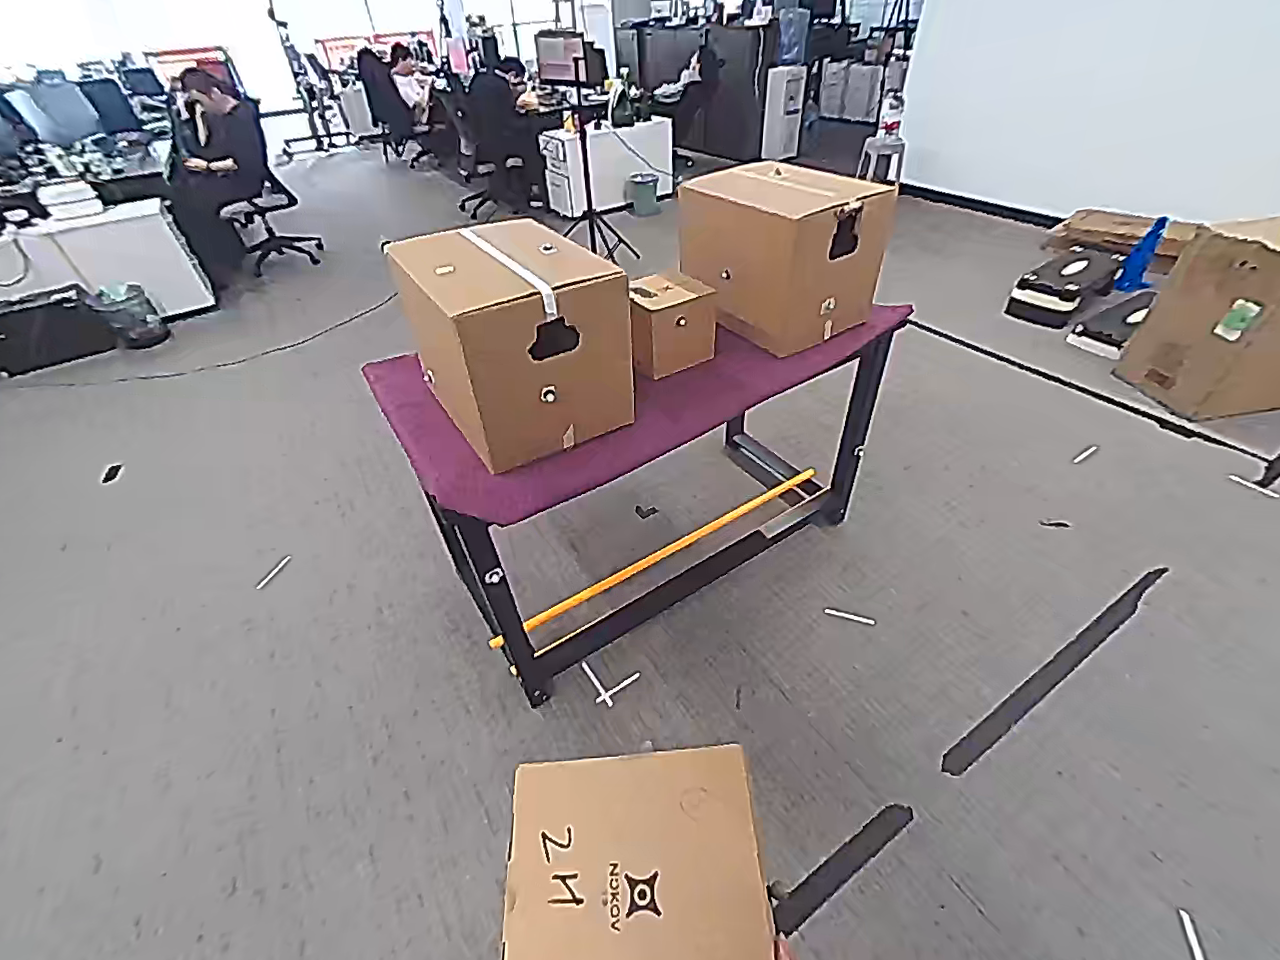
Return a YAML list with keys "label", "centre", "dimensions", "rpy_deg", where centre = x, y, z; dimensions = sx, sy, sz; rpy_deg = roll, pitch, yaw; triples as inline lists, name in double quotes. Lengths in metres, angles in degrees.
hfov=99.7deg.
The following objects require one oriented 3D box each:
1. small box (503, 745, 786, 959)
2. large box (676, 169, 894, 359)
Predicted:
- label: "small box"
  centre: [0.012, 0.310, 0.410]
  dimensions: [0.179, 0.176, 0.168]
  rpy_deg: [-9, 53, 8]
- label: "large box"
  centre: [0.334, -0.548, 1.341]
  dimensions: [0.320, 0.320, 0.408]
  rpy_deg: [-25, 44, -23]
